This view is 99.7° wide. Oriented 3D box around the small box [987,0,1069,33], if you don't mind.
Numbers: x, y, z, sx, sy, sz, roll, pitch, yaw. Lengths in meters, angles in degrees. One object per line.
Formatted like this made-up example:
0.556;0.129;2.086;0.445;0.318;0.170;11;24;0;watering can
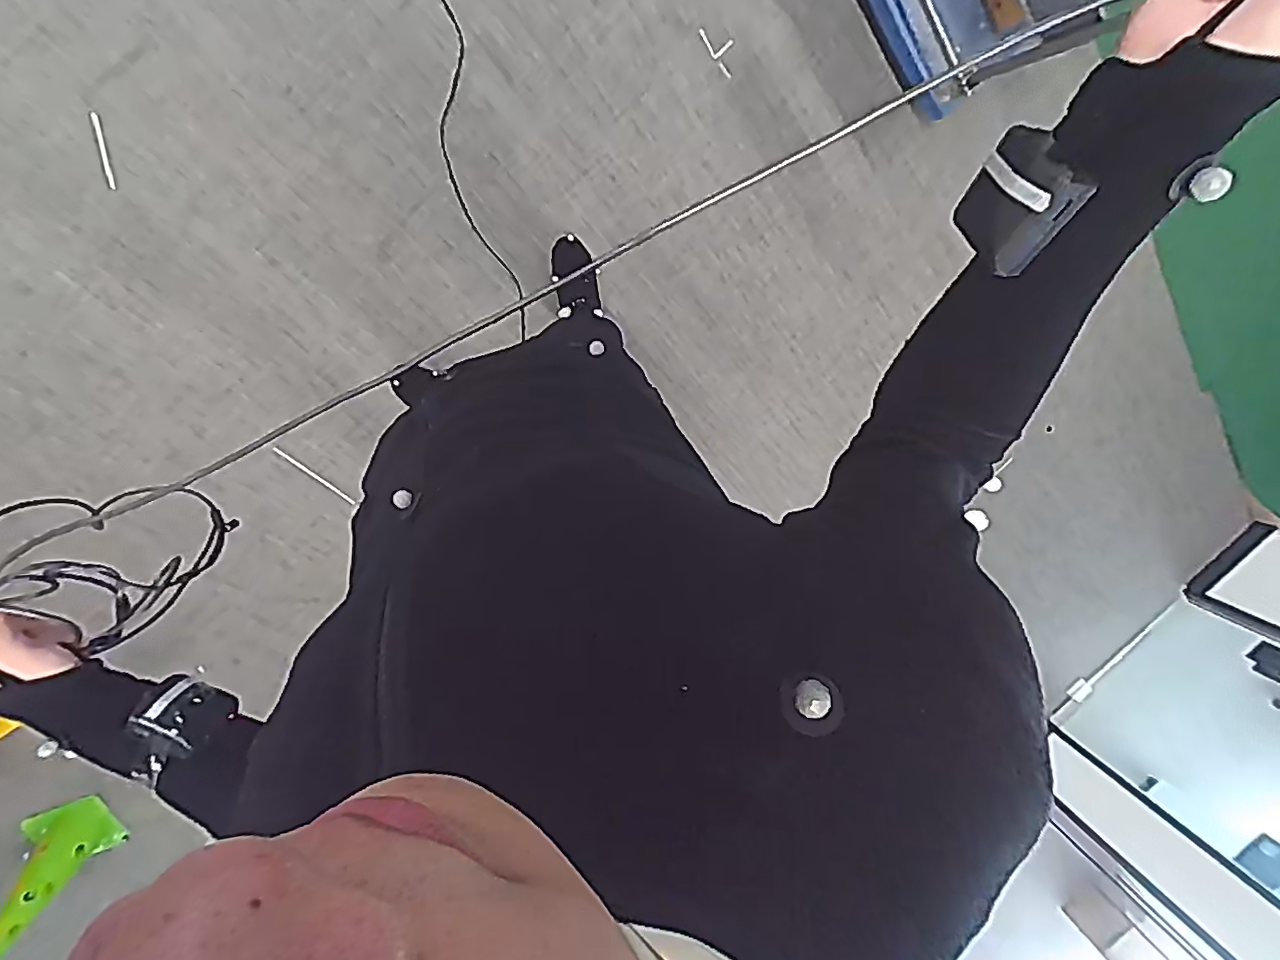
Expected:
0.939;-1.200;1.248;0.179;0.176;0.168;-43;114;4;small box
